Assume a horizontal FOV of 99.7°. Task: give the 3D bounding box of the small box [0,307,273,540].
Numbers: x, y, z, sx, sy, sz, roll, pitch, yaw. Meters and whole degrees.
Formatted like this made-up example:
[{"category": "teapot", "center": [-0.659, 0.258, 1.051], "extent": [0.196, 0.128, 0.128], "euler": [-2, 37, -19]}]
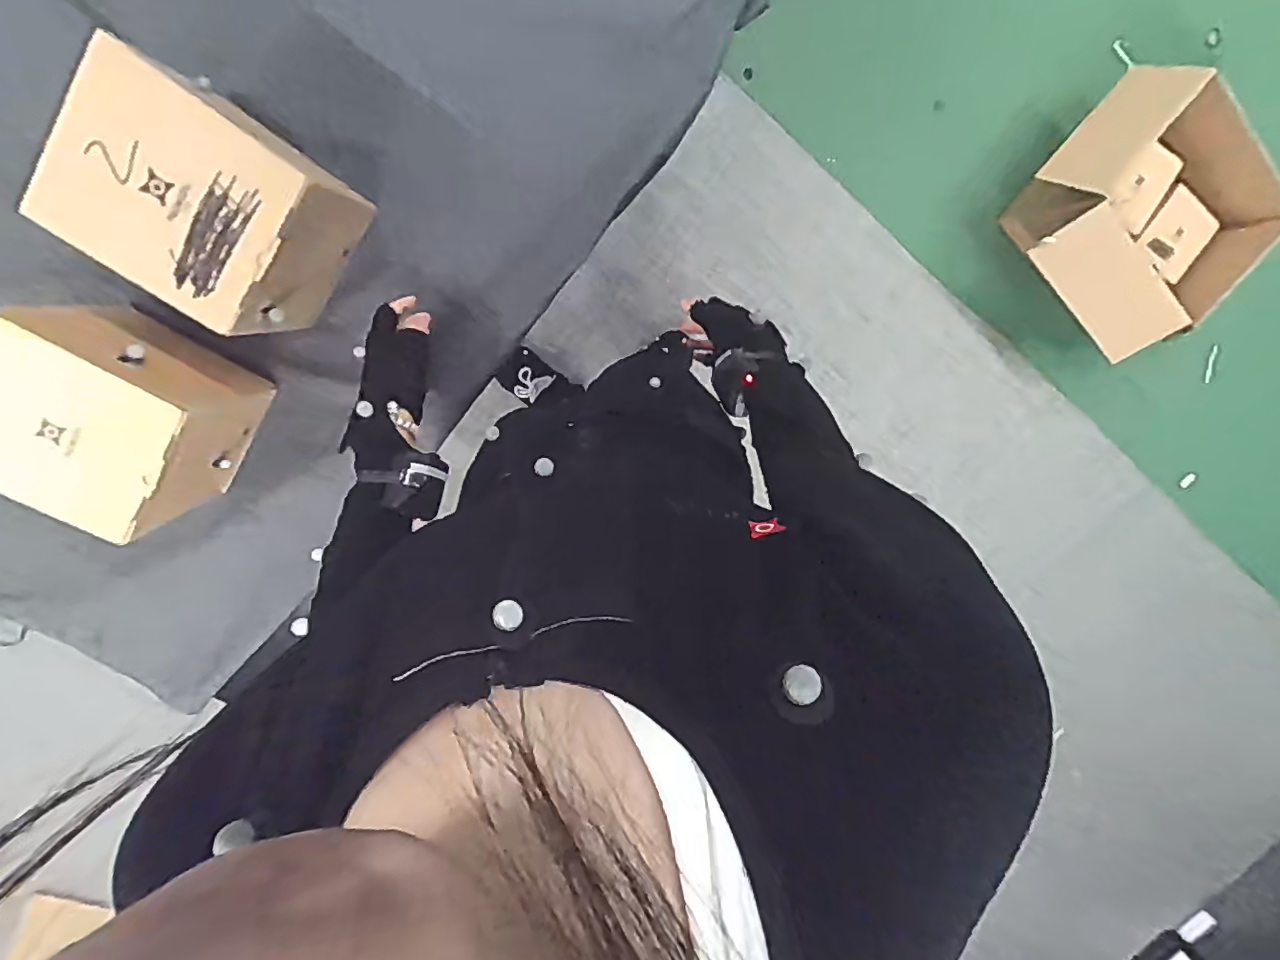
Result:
[{"category": "small box", "center": [-0.559, -0.068, 0.592], "extent": [0.179, 0.176, 0.168], "euler": [31, 101, -16]}]
